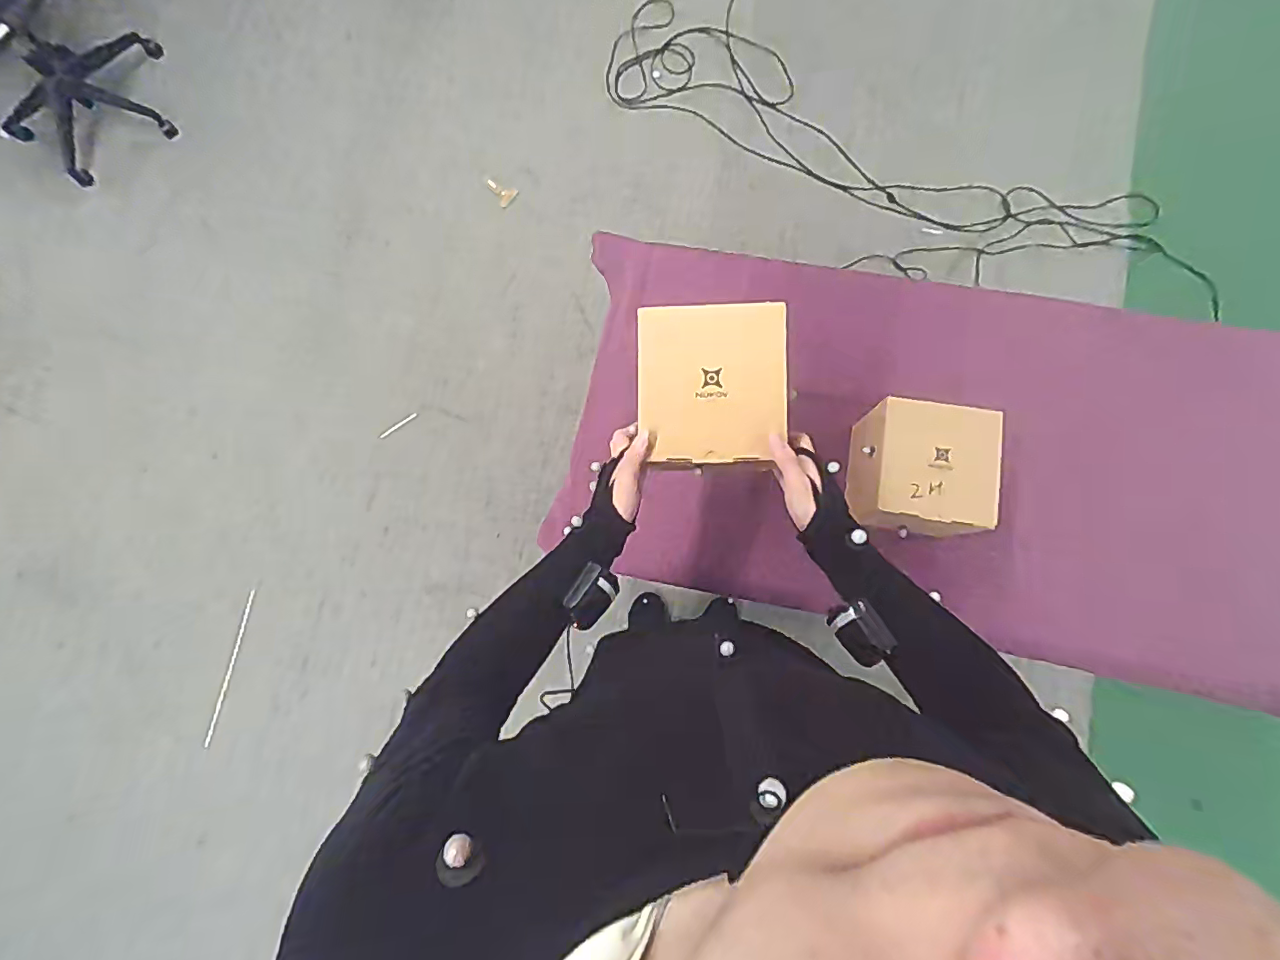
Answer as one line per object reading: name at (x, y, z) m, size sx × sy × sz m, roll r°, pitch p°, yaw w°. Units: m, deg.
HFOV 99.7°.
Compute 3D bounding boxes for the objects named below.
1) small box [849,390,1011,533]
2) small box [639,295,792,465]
small box at (0.439, -0.021, 0.842) m, size 0.168 × 0.176 × 0.179 m, roll 9°, pitch 82°, yaw 6°
small box at (0.087, -0.110, 0.662) m, size 0.168 × 0.176 × 0.179 m, roll -1°, pitch 89°, yaw 6°
